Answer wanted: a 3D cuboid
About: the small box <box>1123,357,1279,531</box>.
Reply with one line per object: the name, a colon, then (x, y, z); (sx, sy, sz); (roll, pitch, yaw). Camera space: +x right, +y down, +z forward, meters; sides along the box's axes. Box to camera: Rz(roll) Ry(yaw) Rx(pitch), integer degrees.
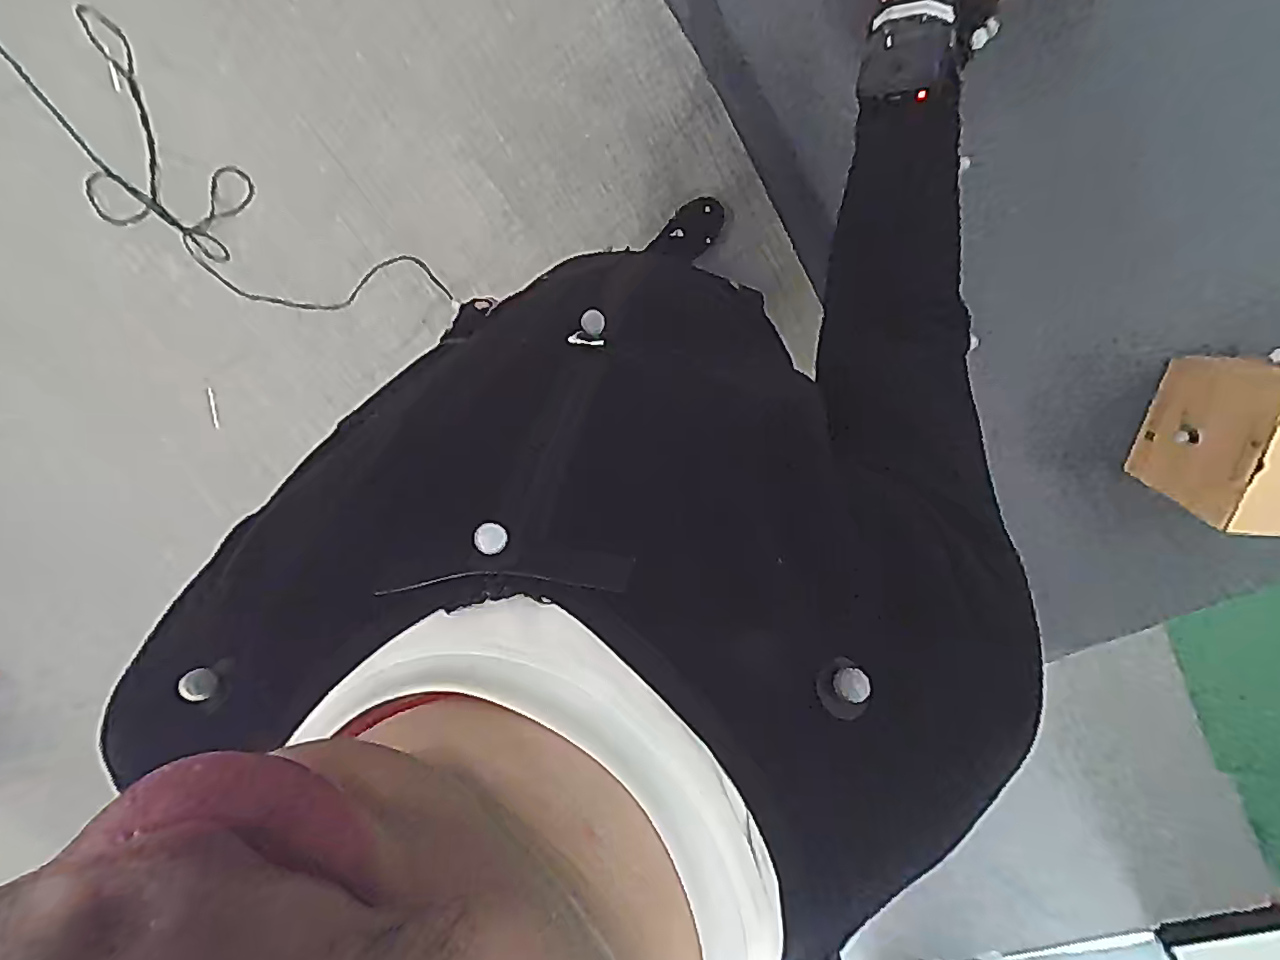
small box: (0.759, -0.049, 0.661); (0.179, 0.176, 0.168); (3, 117, 6)
